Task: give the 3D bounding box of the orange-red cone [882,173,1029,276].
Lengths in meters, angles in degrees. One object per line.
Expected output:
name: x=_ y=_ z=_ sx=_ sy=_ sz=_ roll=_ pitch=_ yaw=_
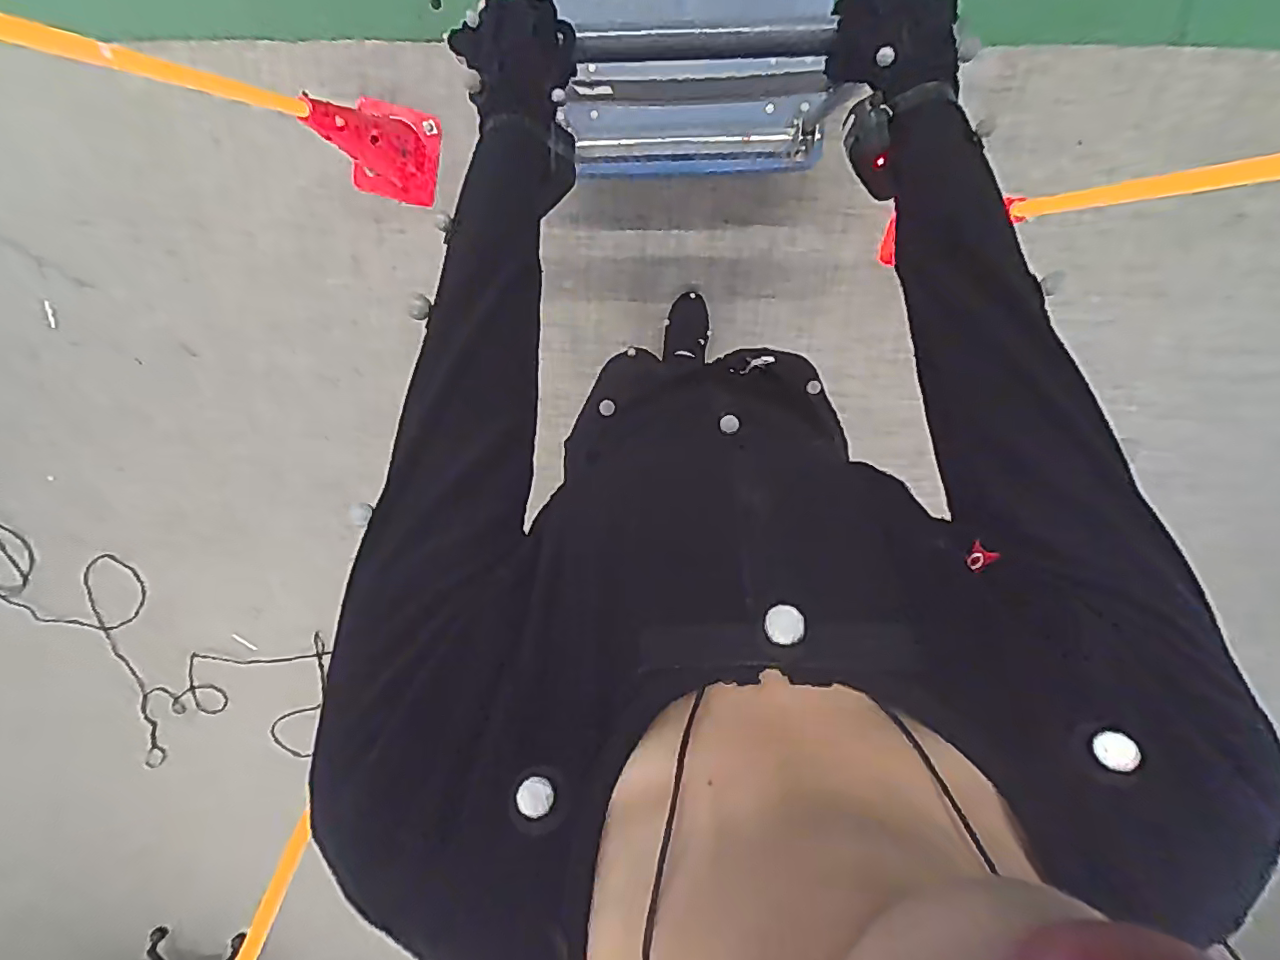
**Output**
orange-red cone: x=0.685 y=-0.542 z=1.122 sx=0.198 sy=0.360 sz=0.199 roll=13 pitch=111 yaw=-1
